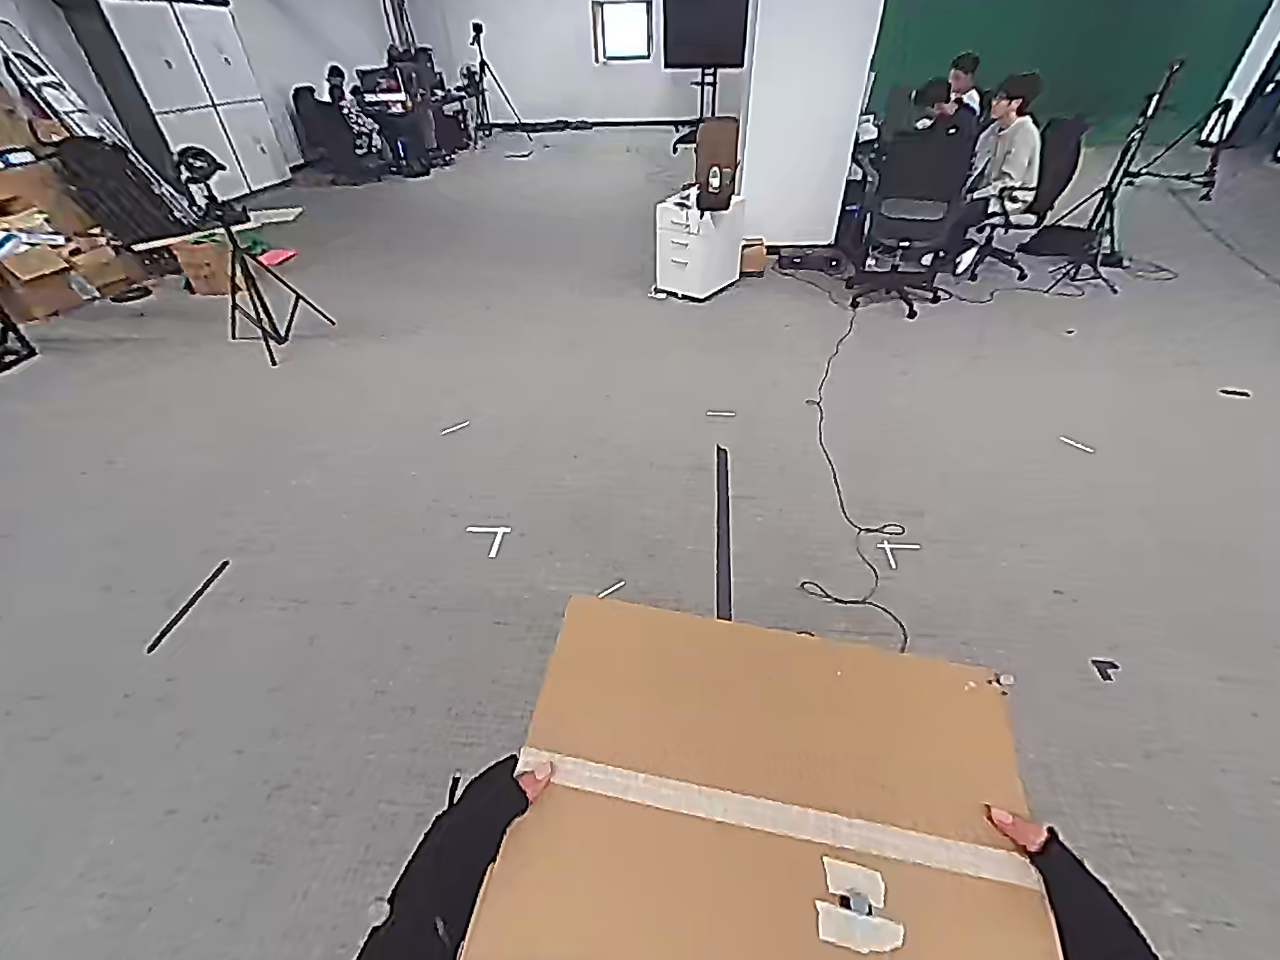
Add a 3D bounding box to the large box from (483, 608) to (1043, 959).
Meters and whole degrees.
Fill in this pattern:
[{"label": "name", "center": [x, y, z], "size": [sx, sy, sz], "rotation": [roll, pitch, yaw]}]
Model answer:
[{"label": "large box", "center": [0.103, 0.369, 0.559], "size": [0.408, 0.320, 0.320], "rotation": [9, 53, 8]}]
